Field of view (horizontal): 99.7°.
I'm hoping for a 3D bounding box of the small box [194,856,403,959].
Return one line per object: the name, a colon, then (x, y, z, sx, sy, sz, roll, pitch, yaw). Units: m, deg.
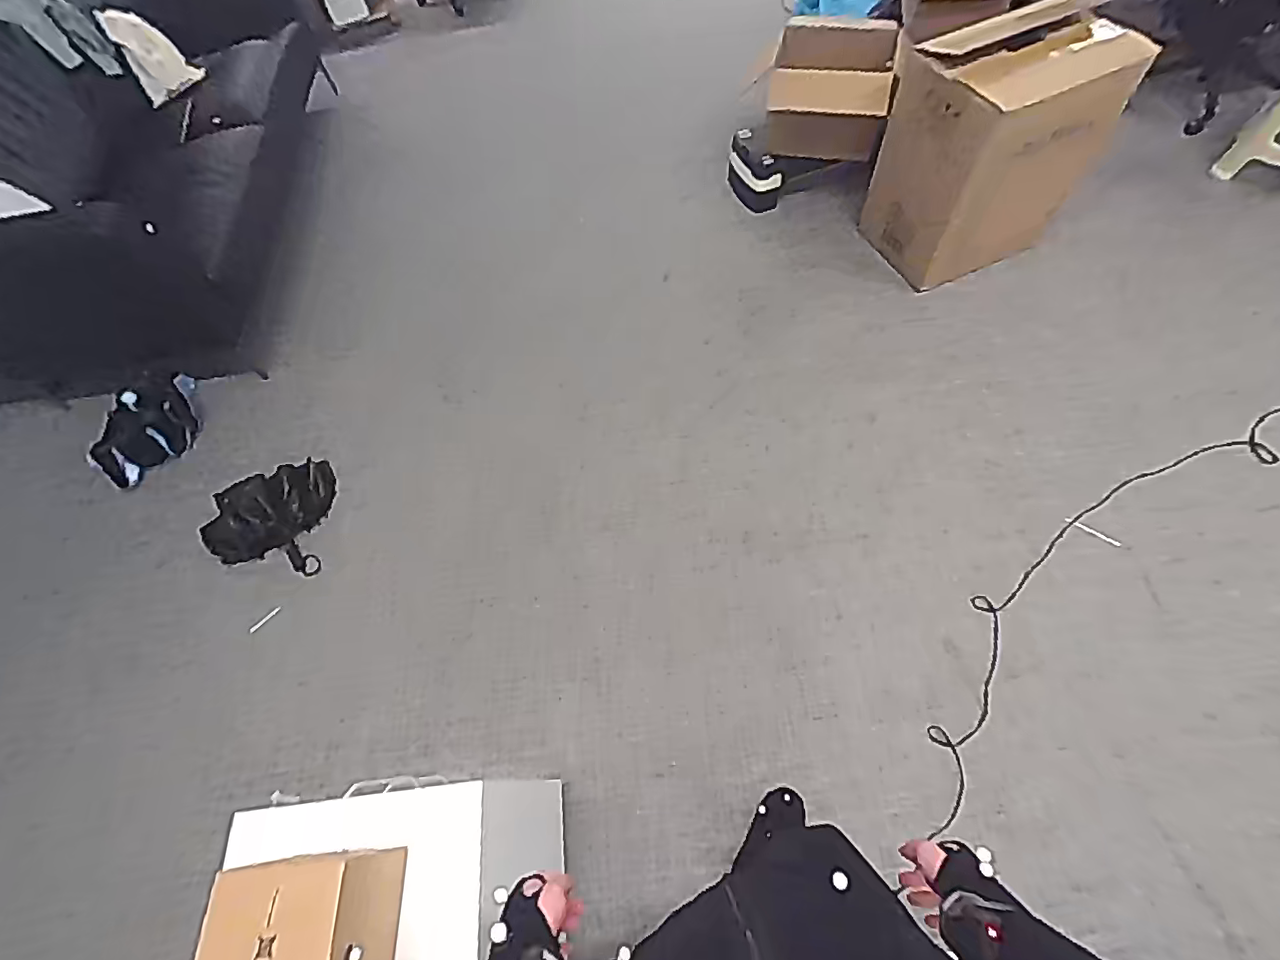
small box: (-0.424, 0.594, 0.683, 0.168, 0.176, 0.179, -6, 60, 3)
